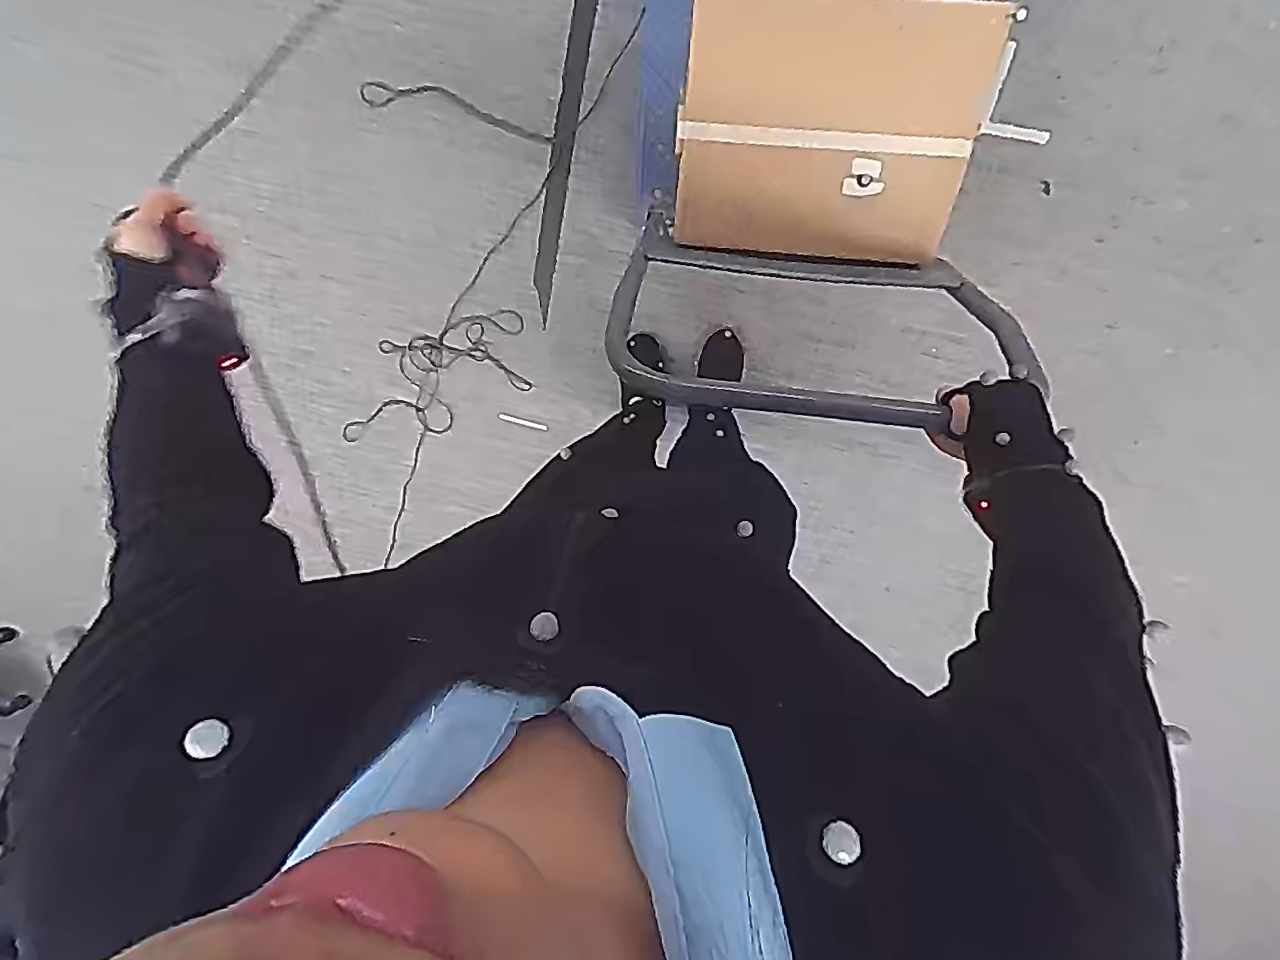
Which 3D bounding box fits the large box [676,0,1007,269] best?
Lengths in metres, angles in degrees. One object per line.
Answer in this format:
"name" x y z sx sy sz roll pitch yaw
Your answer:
"large box" 0.272 -0.553 0.896 0.408 0.320 0.320 6 124 3
